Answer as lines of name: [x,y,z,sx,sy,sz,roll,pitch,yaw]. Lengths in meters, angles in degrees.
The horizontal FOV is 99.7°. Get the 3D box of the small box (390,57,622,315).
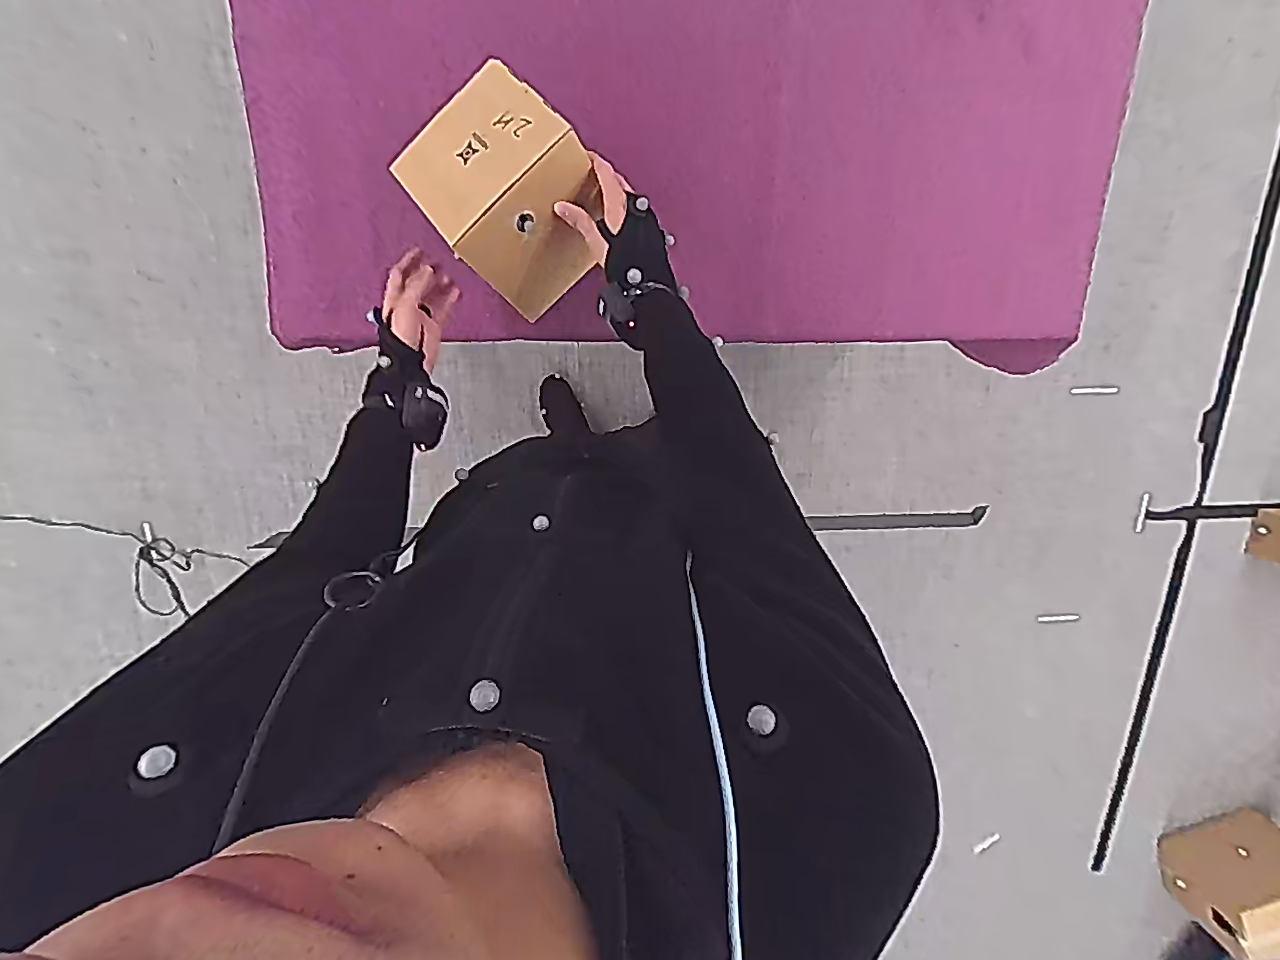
small box: [-0.152,-0.337,0.651,0.179,0.176,0.168,-40,68,7]
